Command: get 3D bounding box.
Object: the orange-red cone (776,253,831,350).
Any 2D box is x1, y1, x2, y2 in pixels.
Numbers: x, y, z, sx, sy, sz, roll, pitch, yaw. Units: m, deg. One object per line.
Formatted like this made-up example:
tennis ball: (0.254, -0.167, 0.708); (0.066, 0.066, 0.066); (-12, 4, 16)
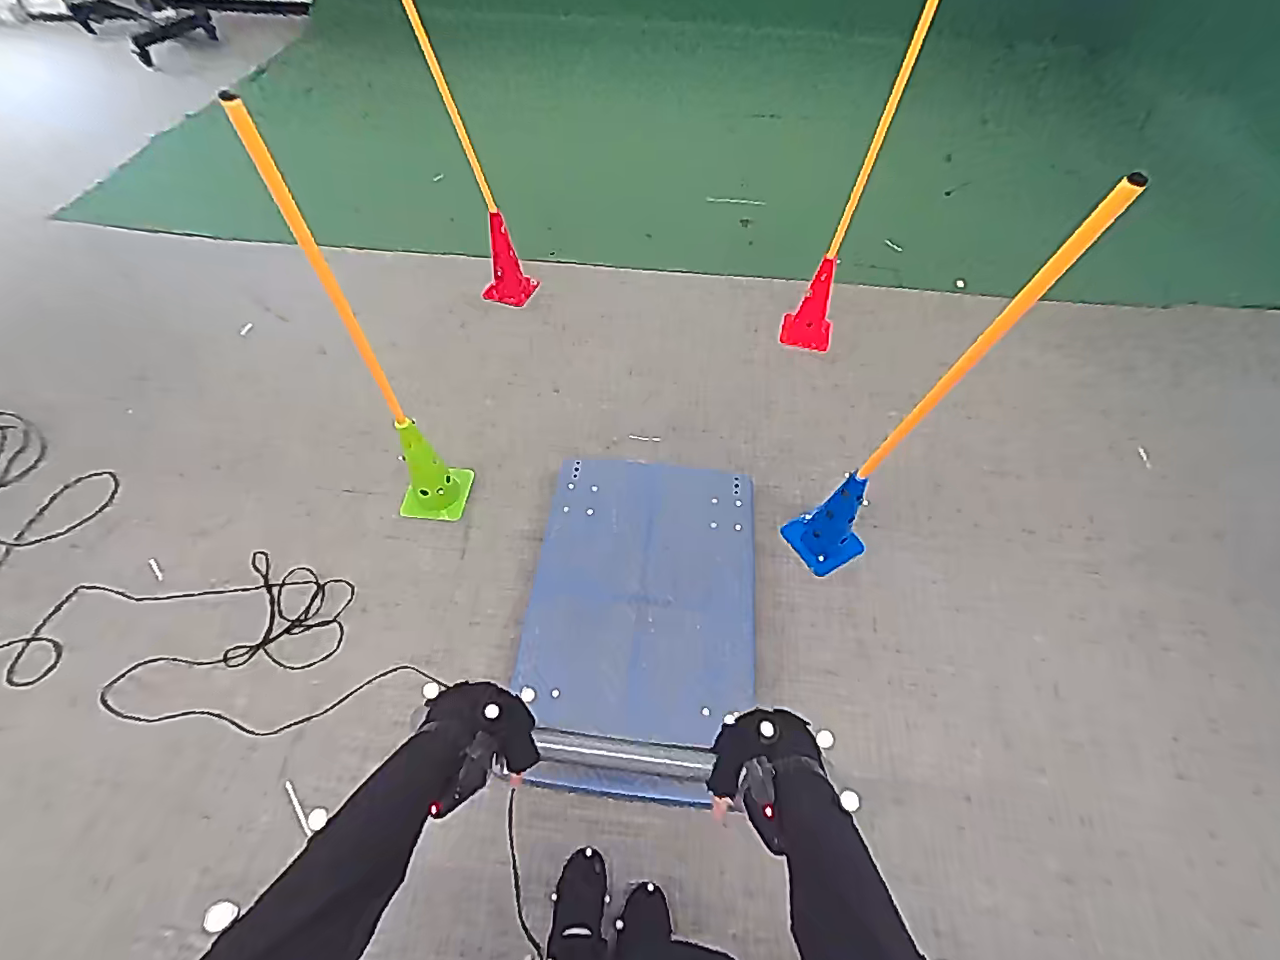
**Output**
orange-red cone: (0.680, -0.716, 2.116); (0.198, 0.360, 0.199); (14, 57, 9)
